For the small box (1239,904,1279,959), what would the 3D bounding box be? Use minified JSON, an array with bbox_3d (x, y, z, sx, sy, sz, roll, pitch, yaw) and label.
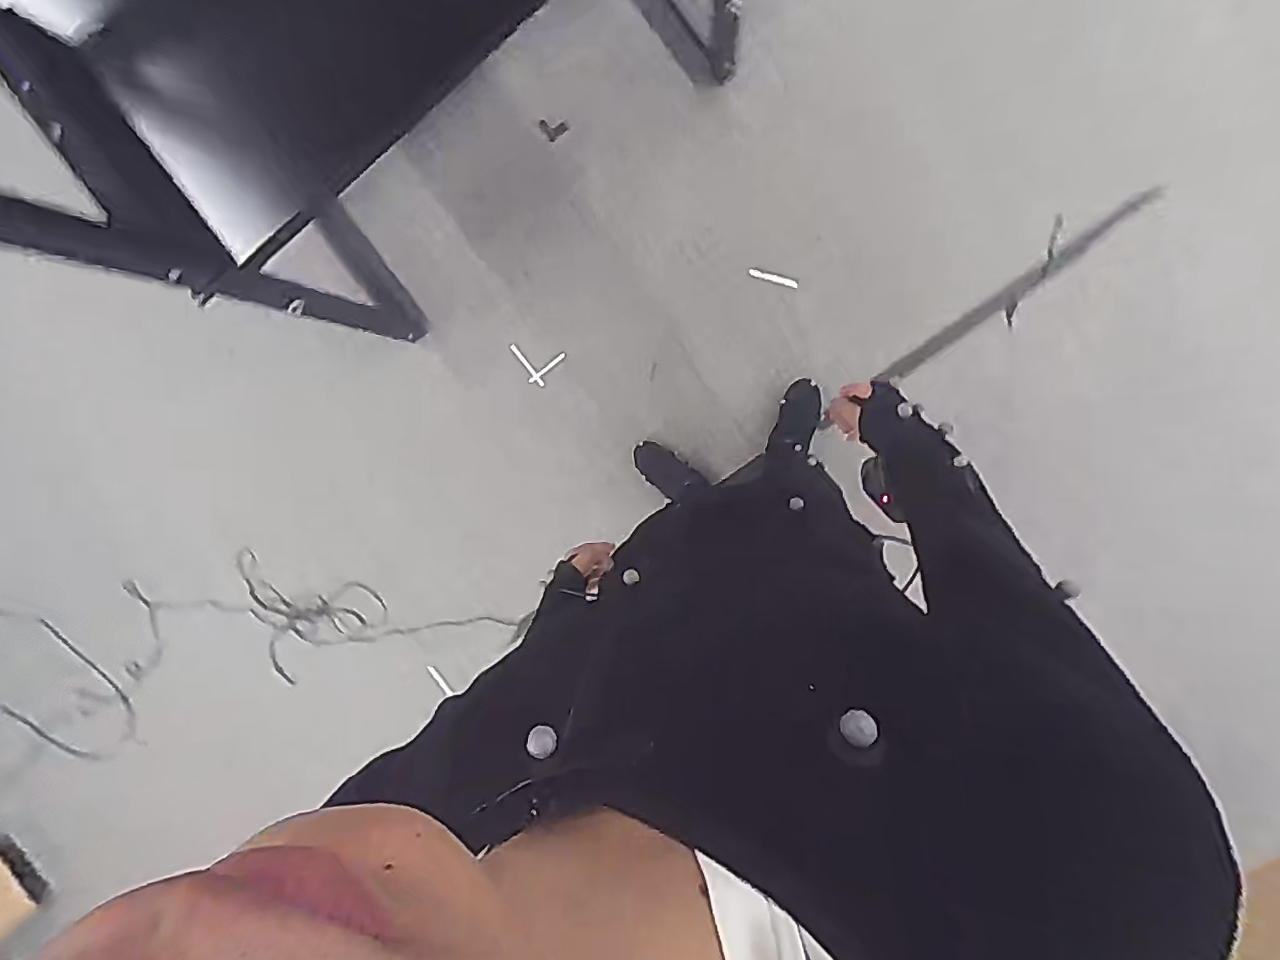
[{"bbox_3d":[1.438,1.026,1.120,0.168,0.176,0.179,-38,93,9],"label":"small box"}]
